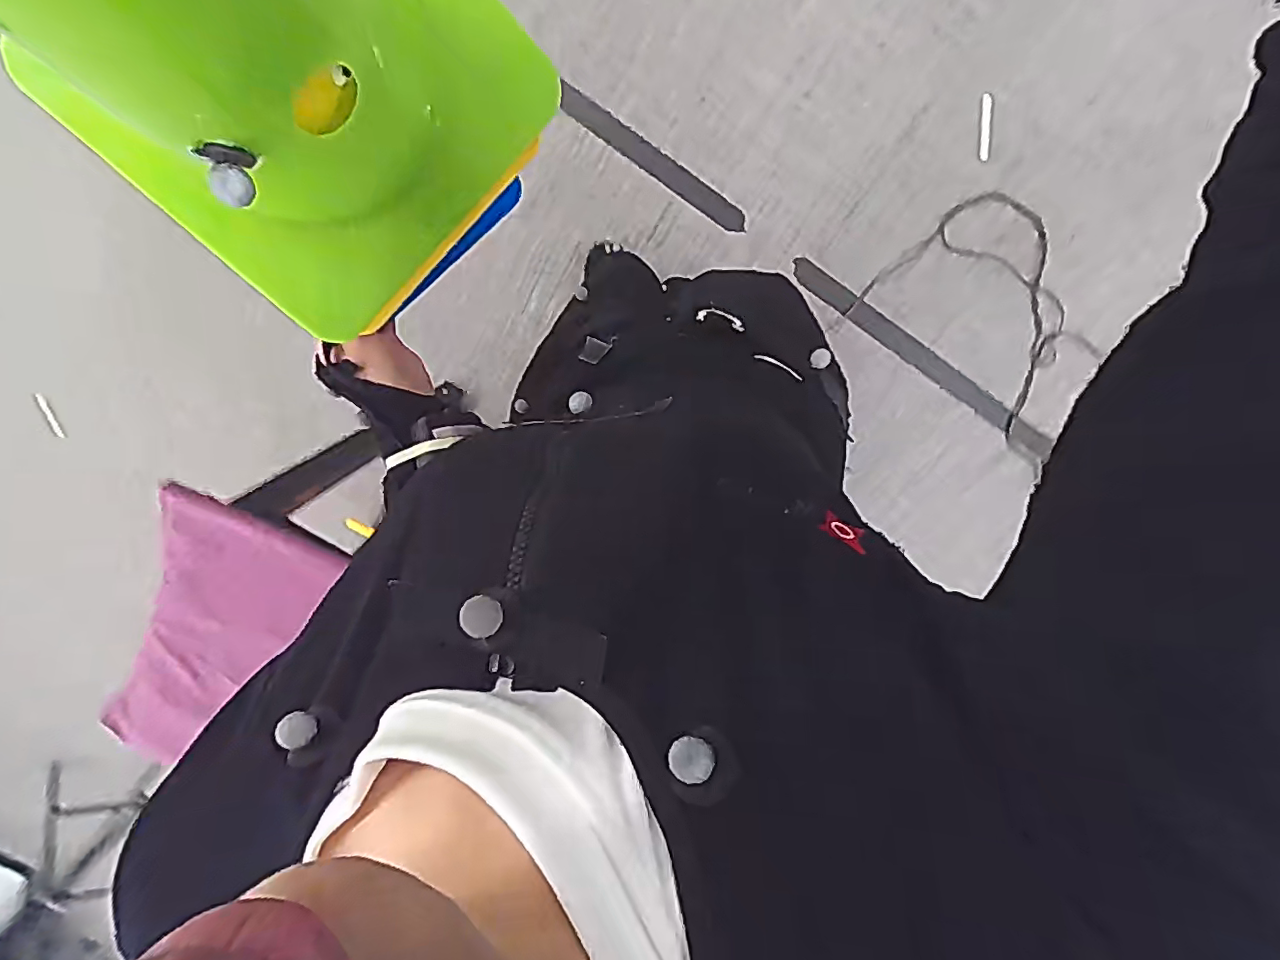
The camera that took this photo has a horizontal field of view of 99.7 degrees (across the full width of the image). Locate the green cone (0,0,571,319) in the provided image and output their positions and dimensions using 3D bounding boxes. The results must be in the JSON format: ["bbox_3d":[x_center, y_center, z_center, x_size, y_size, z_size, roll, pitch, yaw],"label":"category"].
[{"bbox_3d":[-0.138,-0.167,0.098,0.200,0.368,0.202,-45,107,5],"label":"green cone"}]
